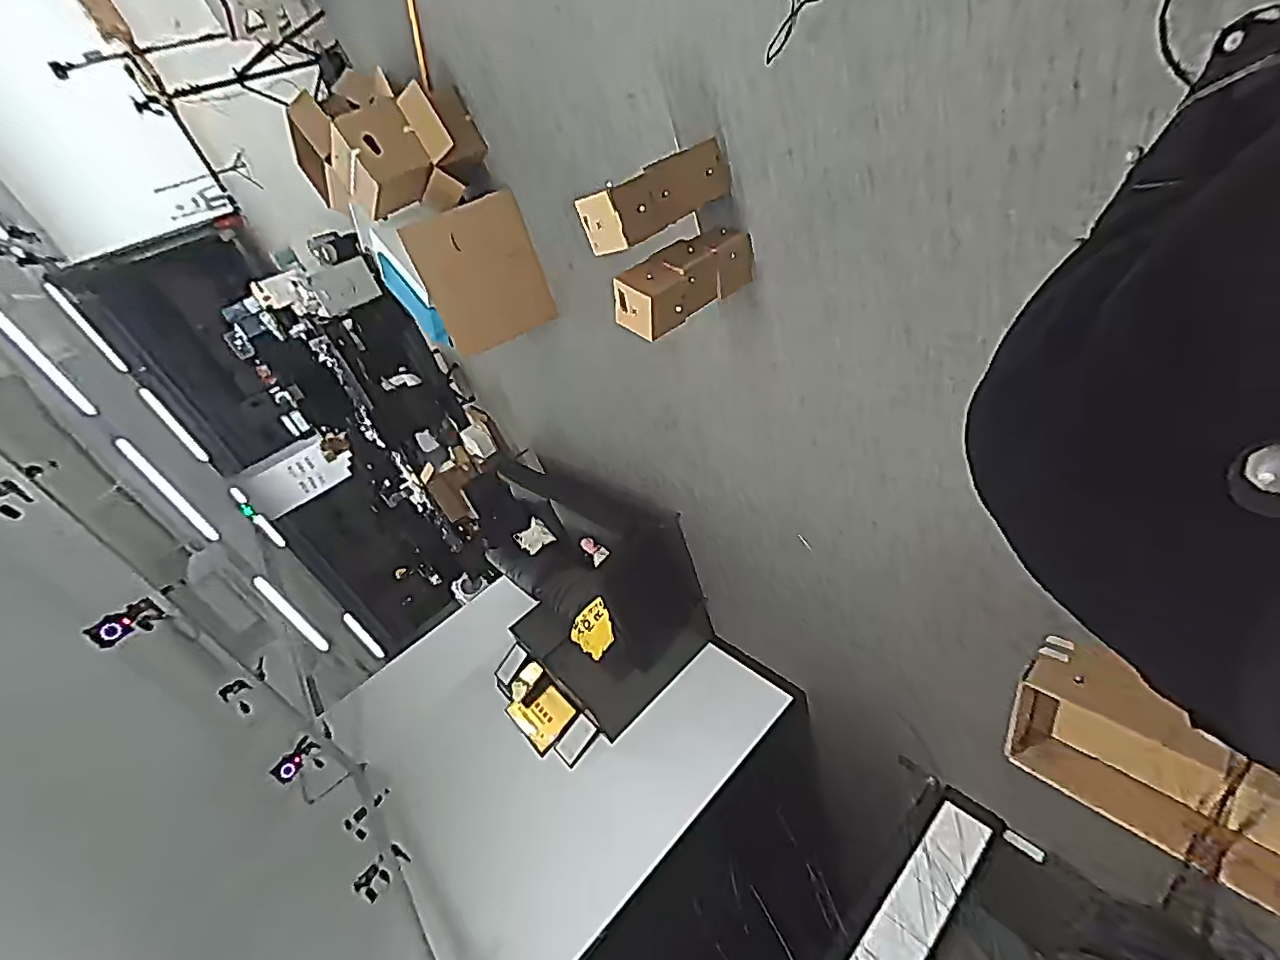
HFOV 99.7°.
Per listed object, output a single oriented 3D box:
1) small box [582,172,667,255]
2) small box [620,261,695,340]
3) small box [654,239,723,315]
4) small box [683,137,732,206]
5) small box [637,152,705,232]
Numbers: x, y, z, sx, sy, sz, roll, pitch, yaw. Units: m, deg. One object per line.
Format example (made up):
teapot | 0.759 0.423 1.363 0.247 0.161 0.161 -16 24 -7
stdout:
small box | -0.039 -0.805 1.637 0.179 0.176 0.168 17 139 49
small box | 0.056 -0.593 1.767 0.179 0.176 0.168 38 152 29
small box | 0.169 -0.688 1.838 0.168 0.176 0.179 36 150 34
small box | 0.182 -0.997 1.781 0.179 0.176 0.168 16 137 54
small box | 0.076 -0.896 1.709 0.168 0.176 0.179 9 132 56
